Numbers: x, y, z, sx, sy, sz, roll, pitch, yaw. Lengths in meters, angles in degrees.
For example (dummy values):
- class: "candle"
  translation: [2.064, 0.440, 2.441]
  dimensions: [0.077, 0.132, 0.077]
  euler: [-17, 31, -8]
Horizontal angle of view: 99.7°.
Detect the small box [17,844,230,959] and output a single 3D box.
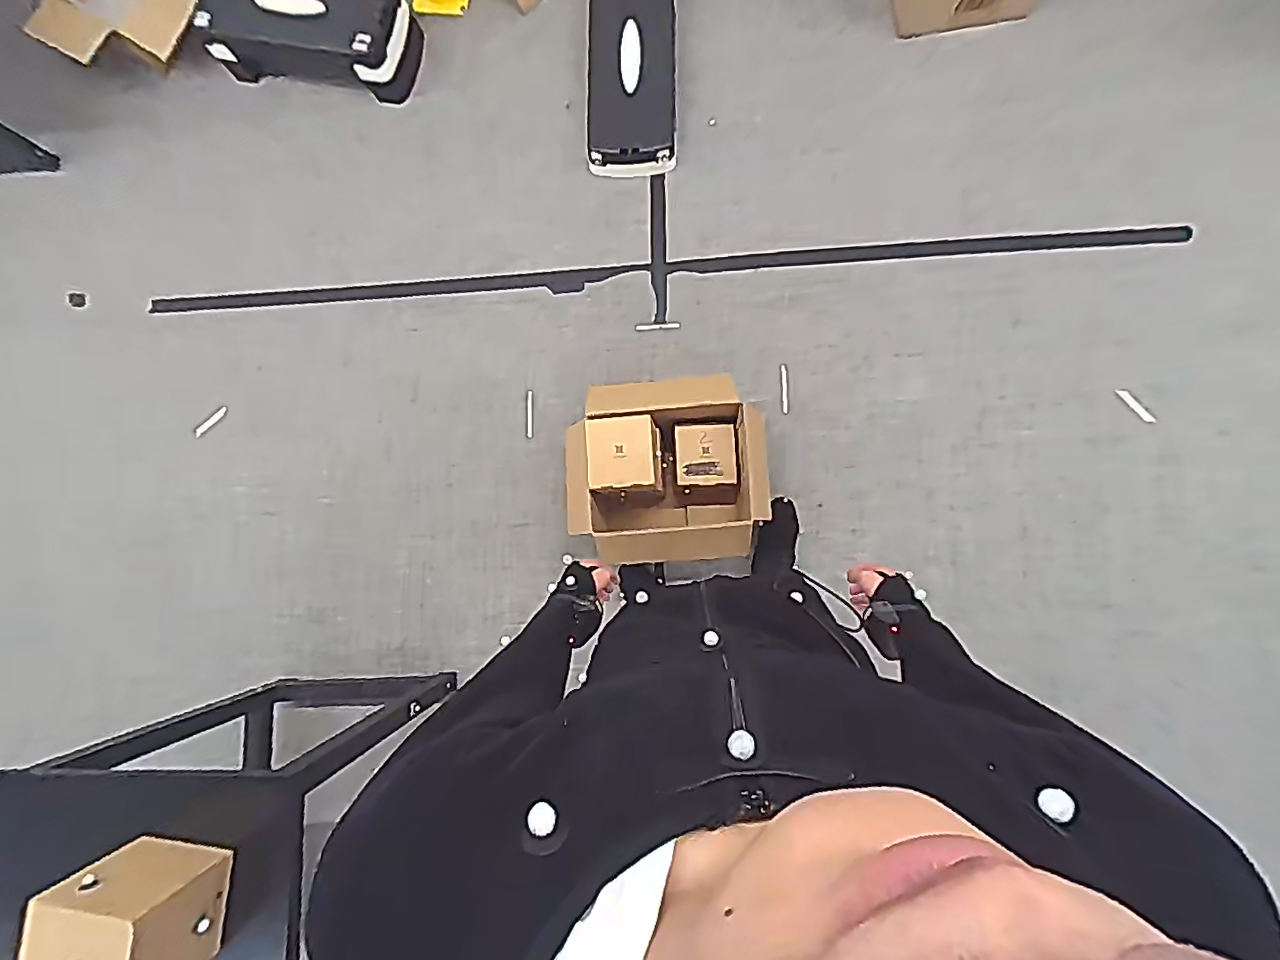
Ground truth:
- class: "small box"
  translation: [-0.794, 0.702, 0.838]
  dimensions: [0.179, 0.176, 0.168]
  euler: [5, 86, 5]
